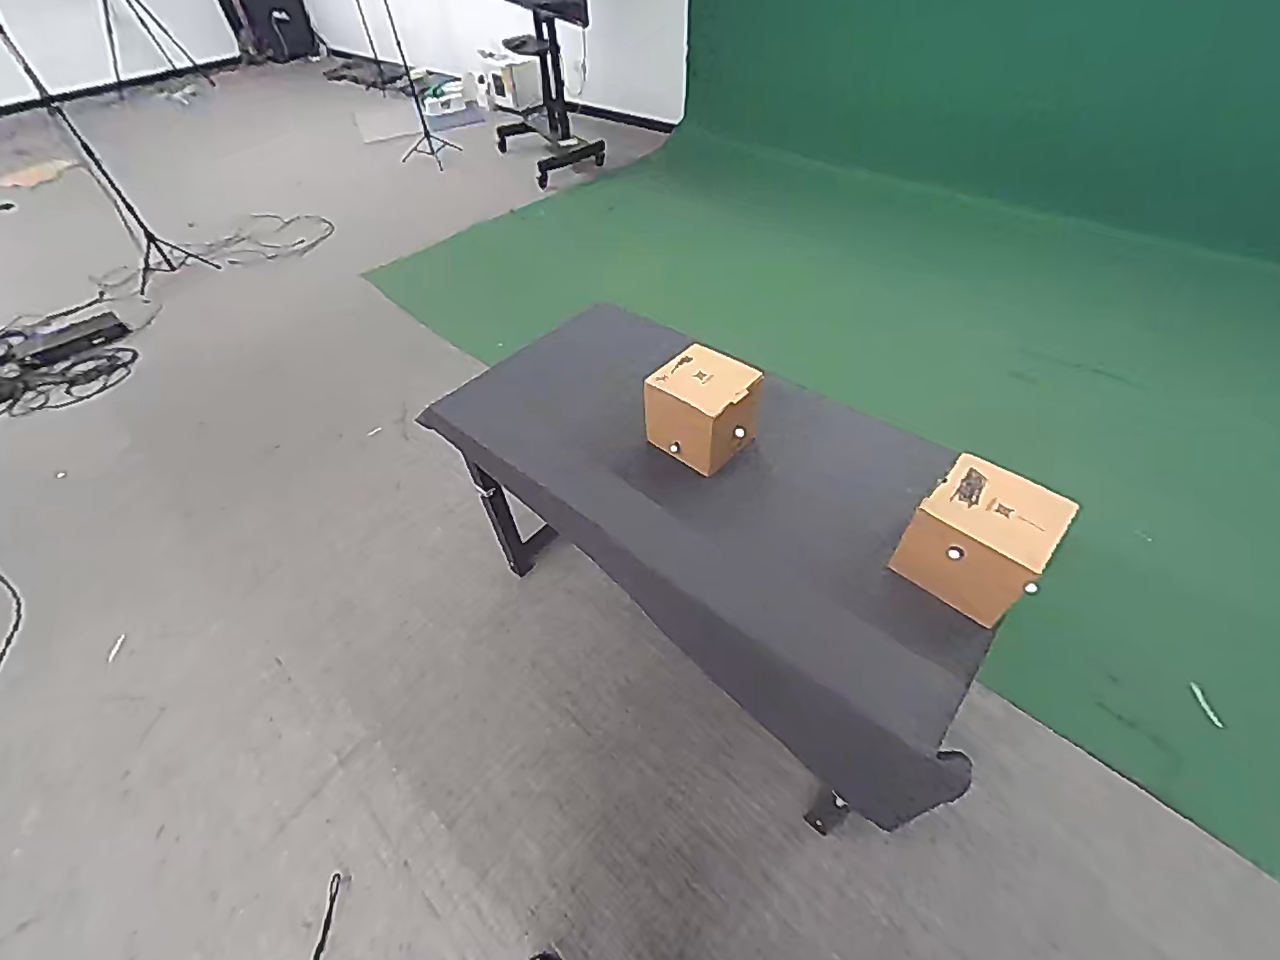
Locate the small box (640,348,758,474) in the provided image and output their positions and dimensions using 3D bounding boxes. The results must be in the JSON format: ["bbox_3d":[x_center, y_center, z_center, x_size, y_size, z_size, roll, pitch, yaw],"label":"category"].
[{"bbox_3d":[0.117,-0.137,1.122,0.179,0.176,0.168,33,56,27],"label":"small box"}]

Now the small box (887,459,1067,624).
[{"bbox_3d":[0.542,0.103,0.892,0.179,0.176,0.168,35,57,28],"label":"small box"}]
